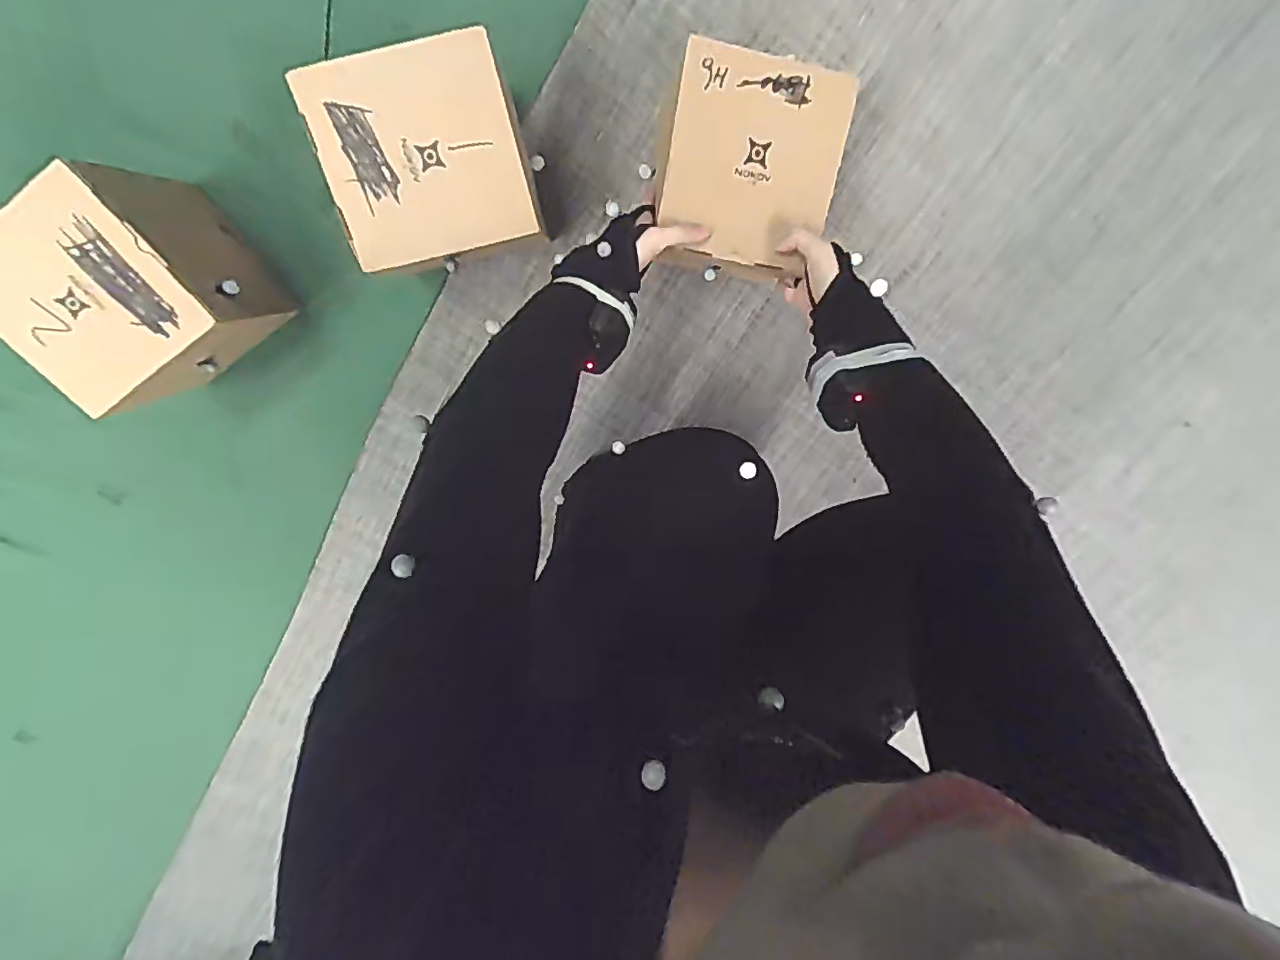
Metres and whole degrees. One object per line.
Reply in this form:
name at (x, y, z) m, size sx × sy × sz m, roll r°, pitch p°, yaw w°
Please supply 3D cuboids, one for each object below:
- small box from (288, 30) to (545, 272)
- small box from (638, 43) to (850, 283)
small box at (-0.208, -0.318, 0.562) m, size 0.179 × 0.176 × 0.168 m, roll -14°, pitch 112°, yaw -1°
small box at (0.094, -0.322, 0.589) m, size 0.168 × 0.176 × 0.179 m, roll 8°, pitch 109°, yaw -8°
